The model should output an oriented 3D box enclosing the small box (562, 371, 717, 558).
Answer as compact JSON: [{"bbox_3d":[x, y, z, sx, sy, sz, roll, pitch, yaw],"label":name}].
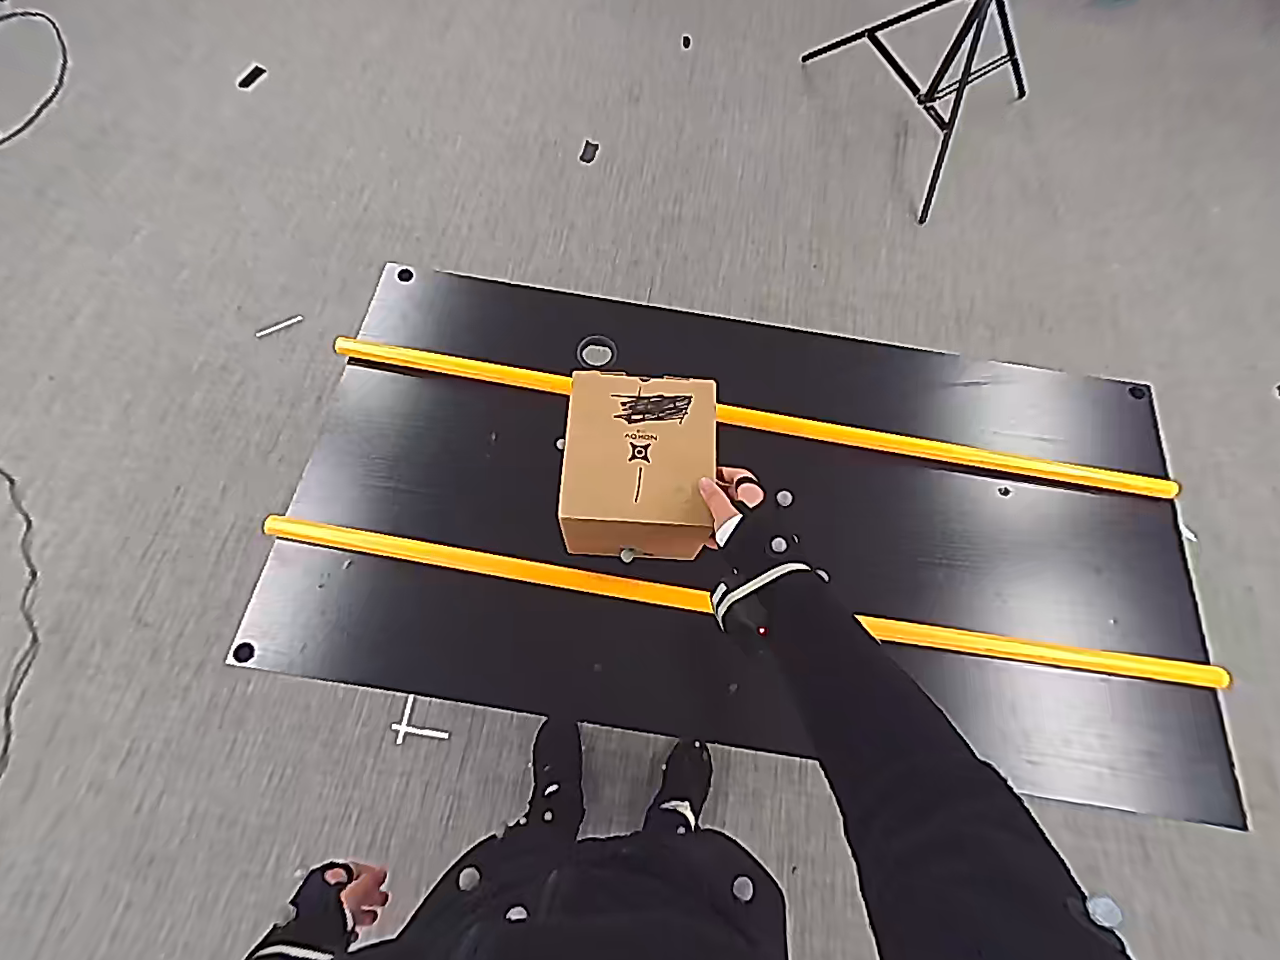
[{"bbox_3d":[-0.001,-0.011,0.668,0.168,0.176,0.179,4,70,-2],"label":"small box"}]
